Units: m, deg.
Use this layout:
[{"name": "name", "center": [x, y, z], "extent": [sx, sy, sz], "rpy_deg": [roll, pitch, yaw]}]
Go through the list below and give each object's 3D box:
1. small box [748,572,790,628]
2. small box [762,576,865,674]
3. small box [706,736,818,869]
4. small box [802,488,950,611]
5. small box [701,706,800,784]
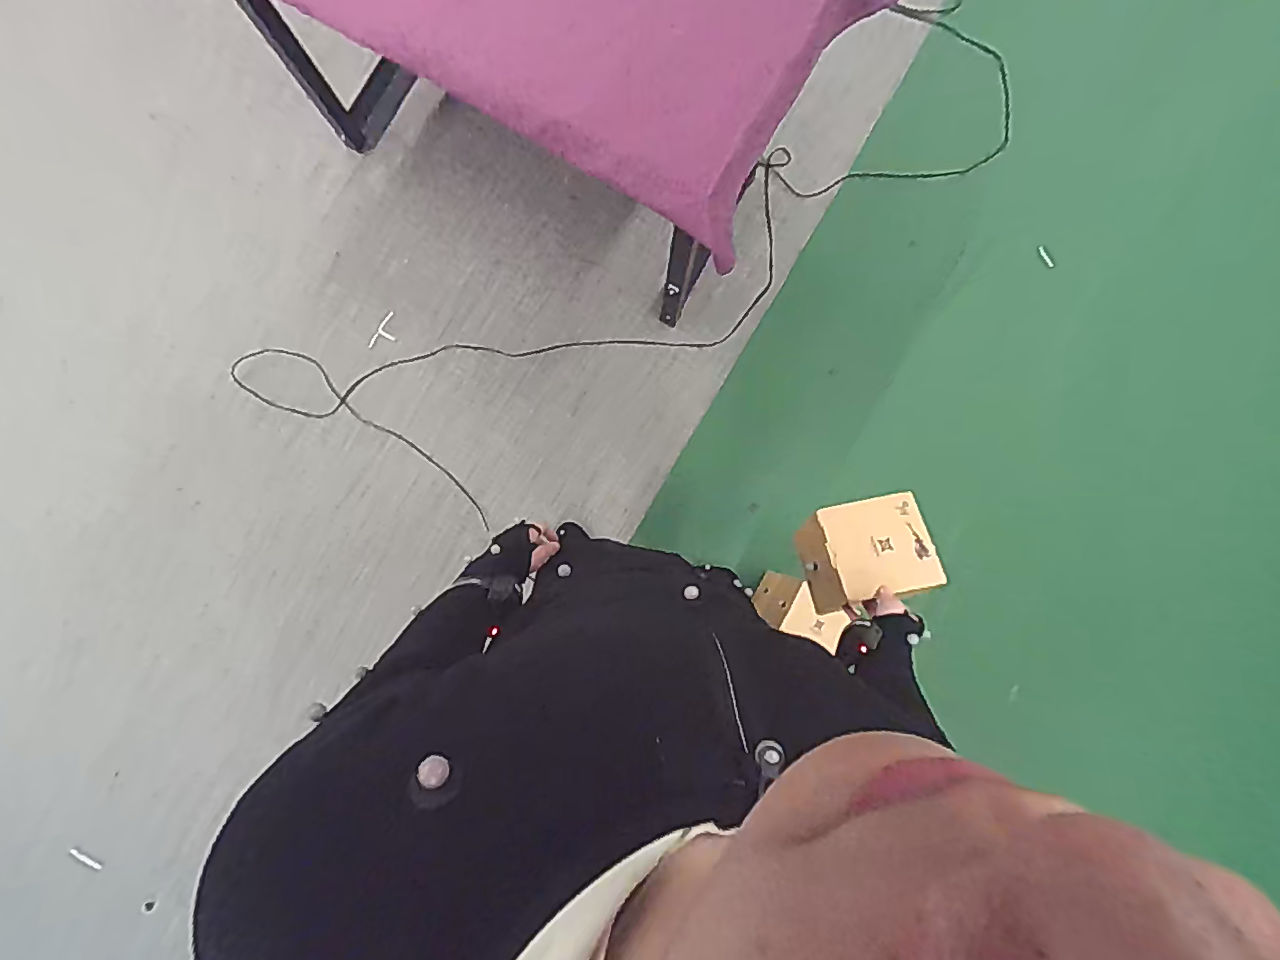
[{"name": "small box", "center": [0.435, 0.378, 1.556], "extent": [0.179, 0.176, 0.168], "rpy_deg": [29, 86, 0]}, {"name": "small box", "center": [0.437, 0.362, 1.392], "extent": [0.168, 0.176, 0.179], "rpy_deg": [29, 86, 0]}, {"name": "small box", "center": [0.263, 0.704, 1.203], "extent": [0.179, 0.176, 0.168], "rpy_deg": [24, 87, 2]}, {"name": "small box", "center": [0.404, 0.132, 0.968], "extent": [0.179, 0.176, 0.168], "rpy_deg": [-11, 70, -2]}, {"name": "small box", "center": [0.270, 0.700, 1.367], "extent": [0.179, 0.176, 0.168], "rpy_deg": [30, 87, 1]}]
